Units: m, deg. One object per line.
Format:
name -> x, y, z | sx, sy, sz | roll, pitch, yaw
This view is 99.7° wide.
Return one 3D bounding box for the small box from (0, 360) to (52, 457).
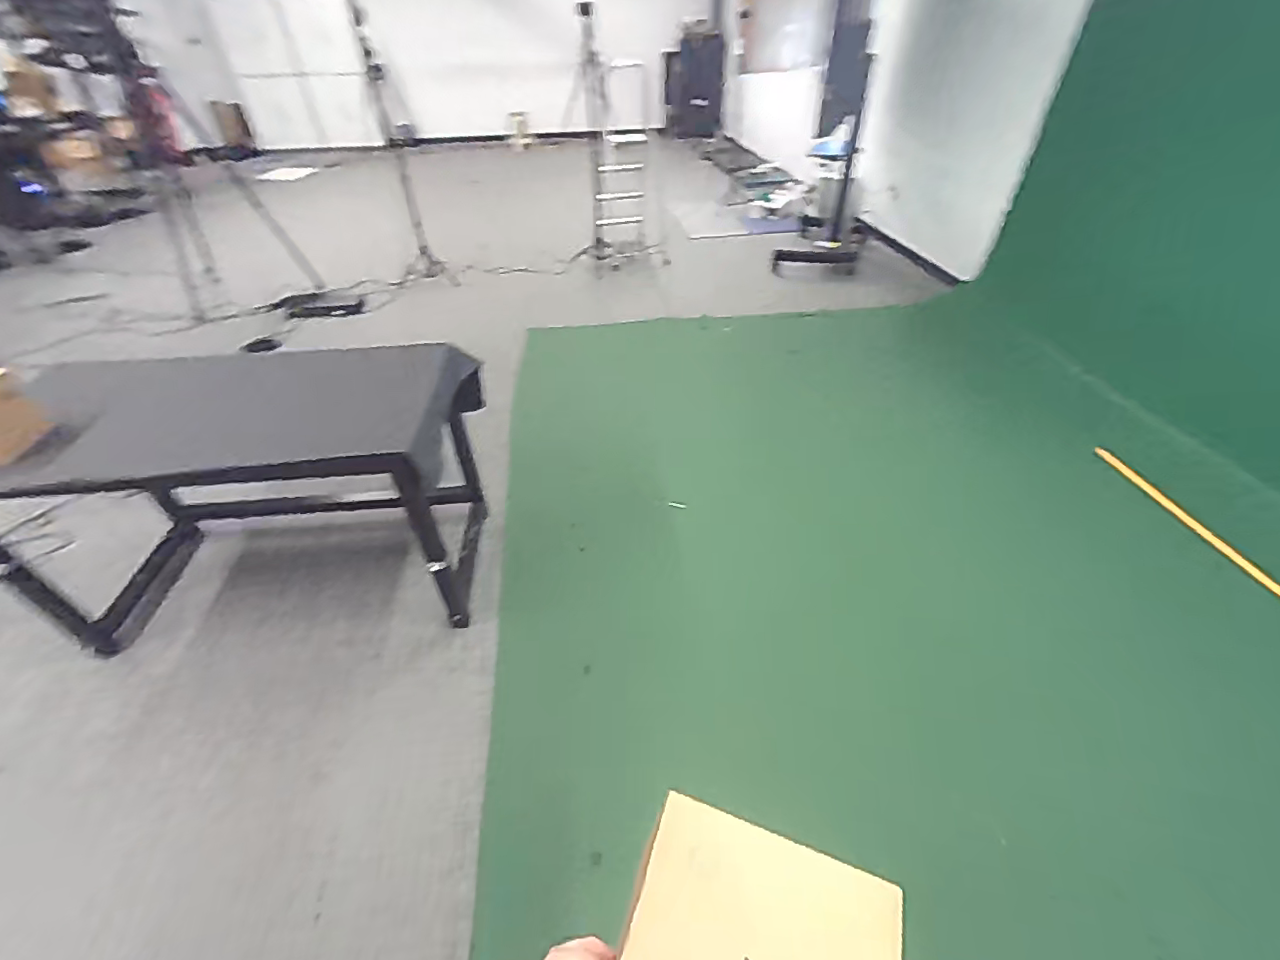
small box -> -1.591, -0.169, 1.293 | 0.168, 0.176, 0.179 | -5, 41, -5
